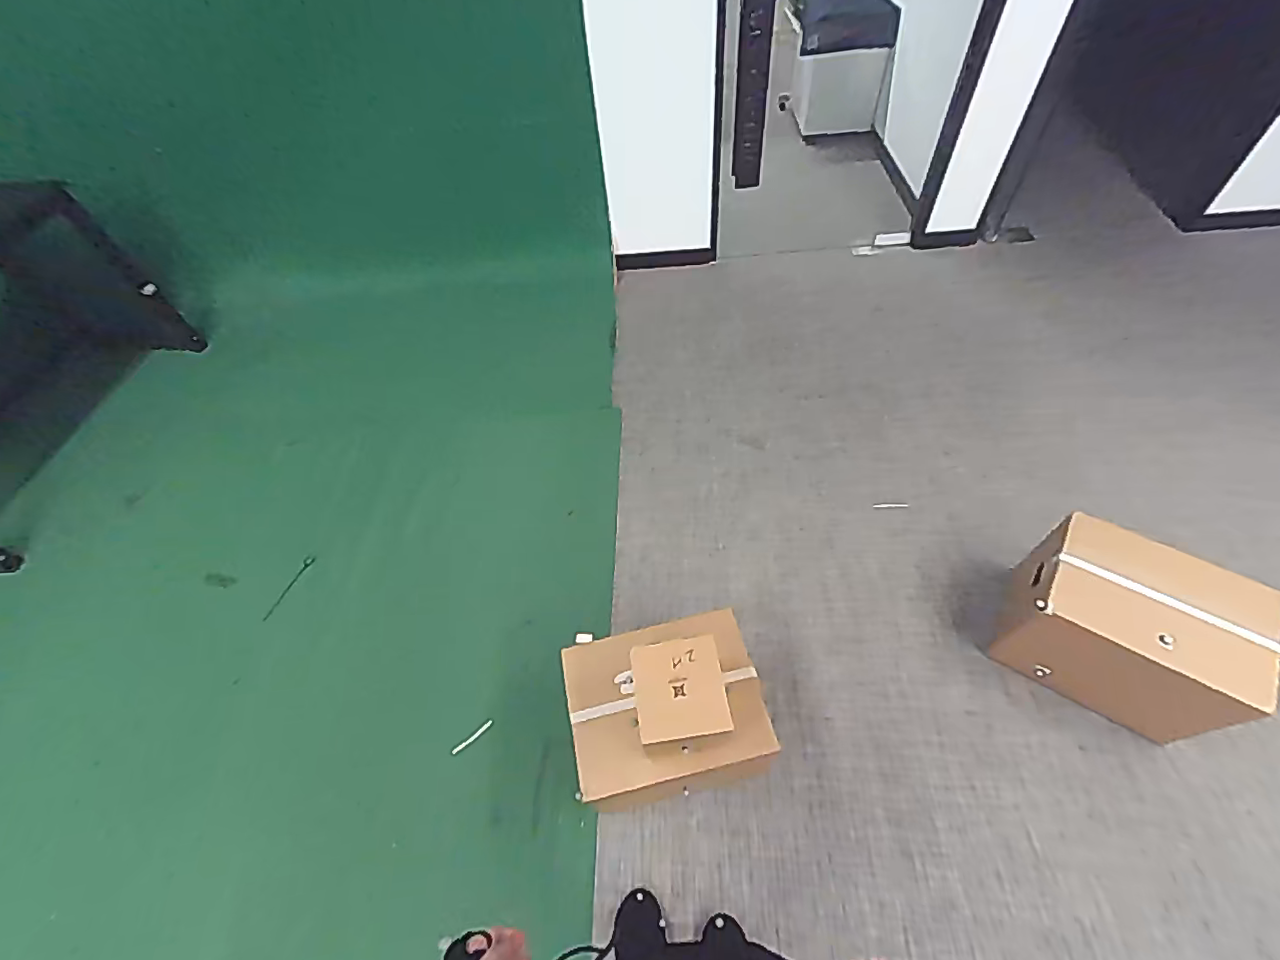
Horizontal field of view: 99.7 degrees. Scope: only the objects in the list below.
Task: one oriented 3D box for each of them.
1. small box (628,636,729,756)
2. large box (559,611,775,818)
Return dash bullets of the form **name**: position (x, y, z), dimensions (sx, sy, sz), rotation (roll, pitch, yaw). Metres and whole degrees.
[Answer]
- **small box**: position (0.071, 0.422, 1.042), dimensions (0.168, 0.176, 0.179), rotation (-7, 54, -2)
- **large box**: position (0.056, 0.550, 1.257), dimensions (0.408, 0.320, 0.320), rotation (-13, 52, -4)
